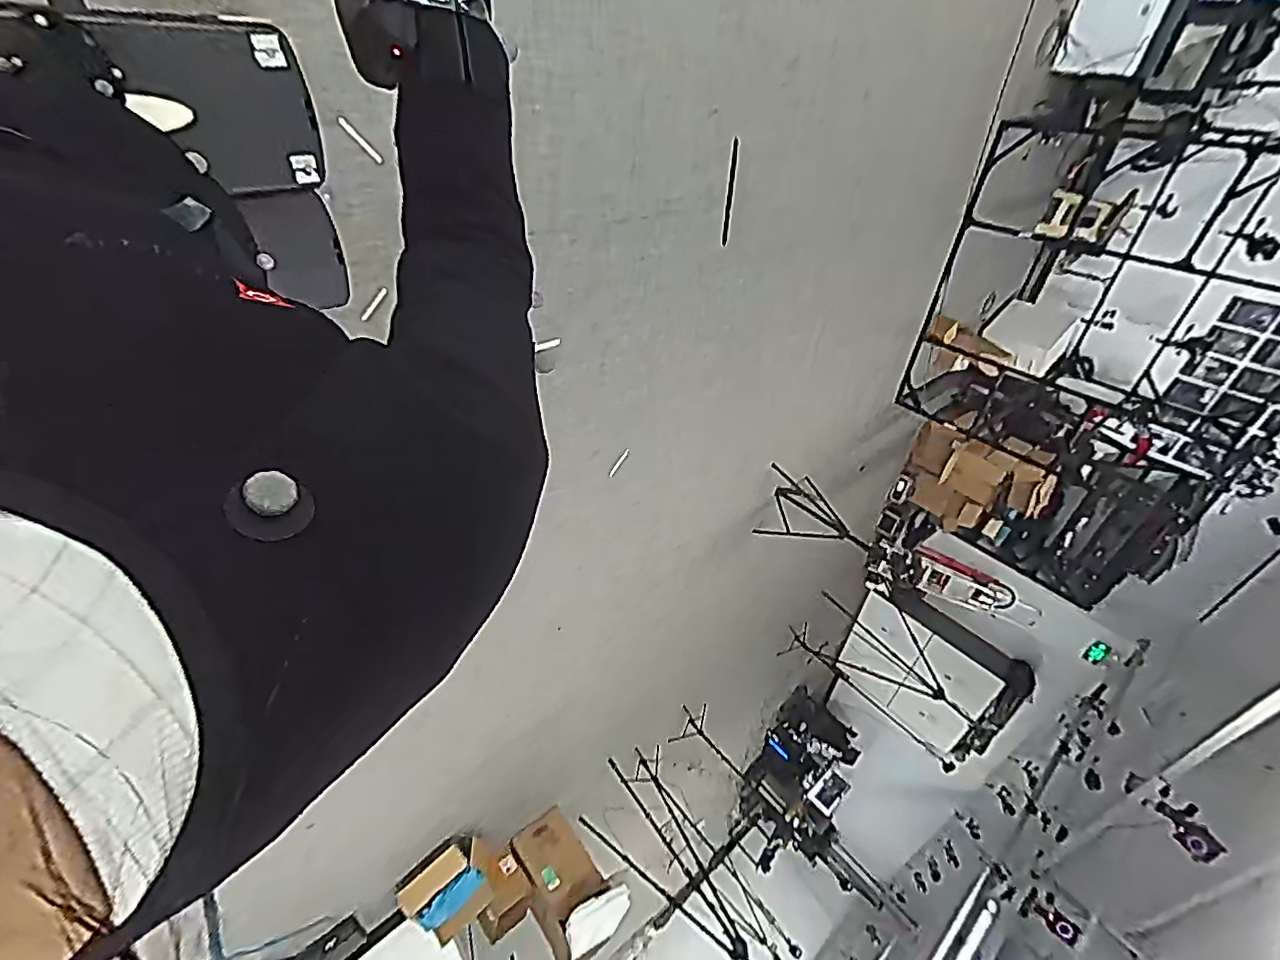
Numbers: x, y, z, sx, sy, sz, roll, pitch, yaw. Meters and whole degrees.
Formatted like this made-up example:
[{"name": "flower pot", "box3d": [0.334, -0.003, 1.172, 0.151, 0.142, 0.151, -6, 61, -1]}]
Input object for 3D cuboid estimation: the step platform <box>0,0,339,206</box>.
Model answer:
[{"name": "step platform", "box3d": [-0.947, -0.695, 0.992, 0.684, 0.204, 0.286, -27, 137, -32]}]
